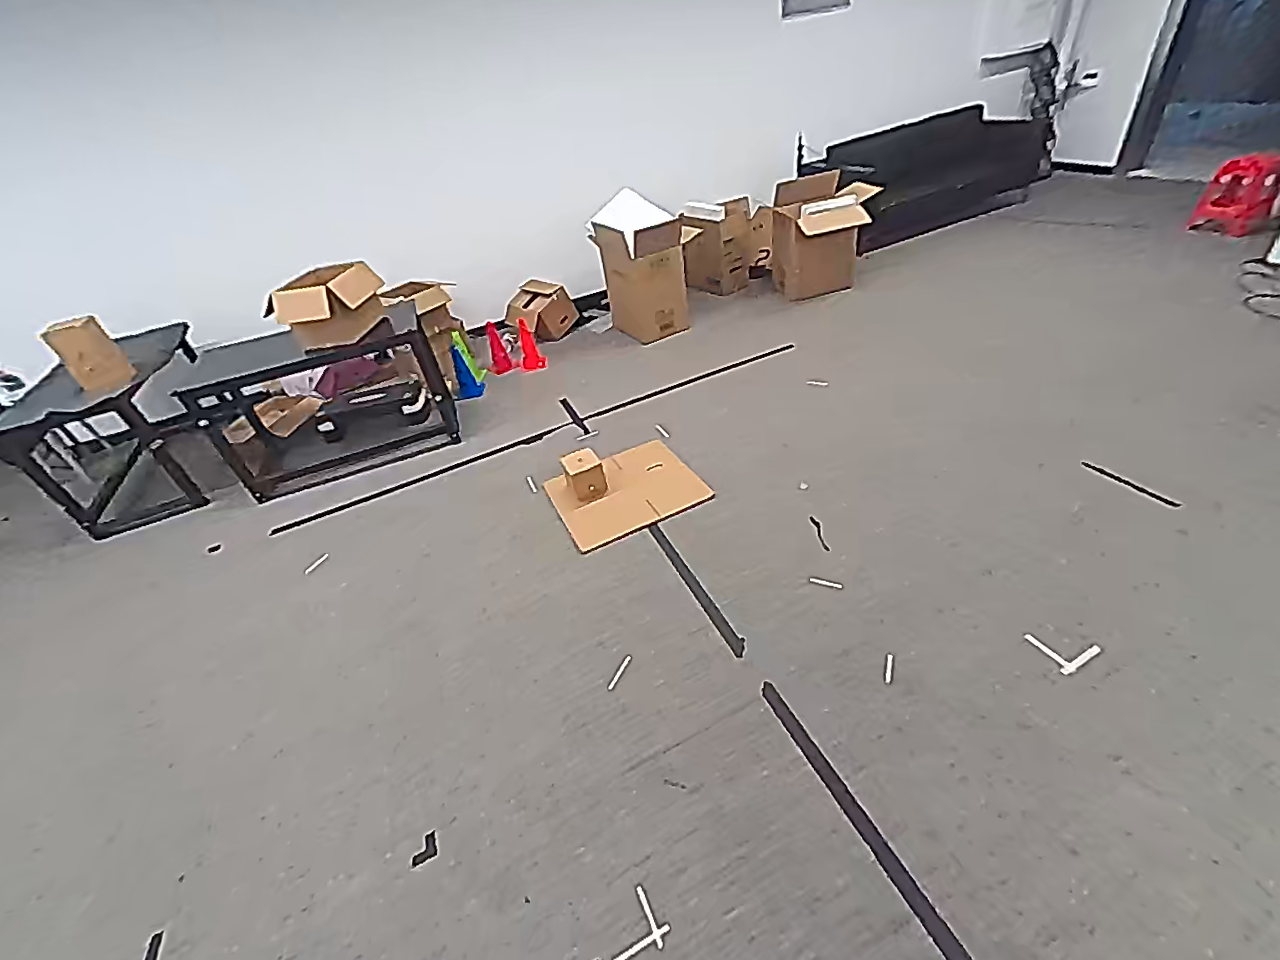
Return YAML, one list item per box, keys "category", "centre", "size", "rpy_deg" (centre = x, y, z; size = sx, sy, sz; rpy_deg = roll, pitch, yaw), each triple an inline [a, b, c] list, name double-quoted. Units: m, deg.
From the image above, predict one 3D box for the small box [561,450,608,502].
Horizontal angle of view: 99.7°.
- category: "small box"
  centre: [-0.277, -0.017, 2.714]
  size: [0.168, 0.176, 0.179]
  rpy_deg: [-23, 39, -15]
